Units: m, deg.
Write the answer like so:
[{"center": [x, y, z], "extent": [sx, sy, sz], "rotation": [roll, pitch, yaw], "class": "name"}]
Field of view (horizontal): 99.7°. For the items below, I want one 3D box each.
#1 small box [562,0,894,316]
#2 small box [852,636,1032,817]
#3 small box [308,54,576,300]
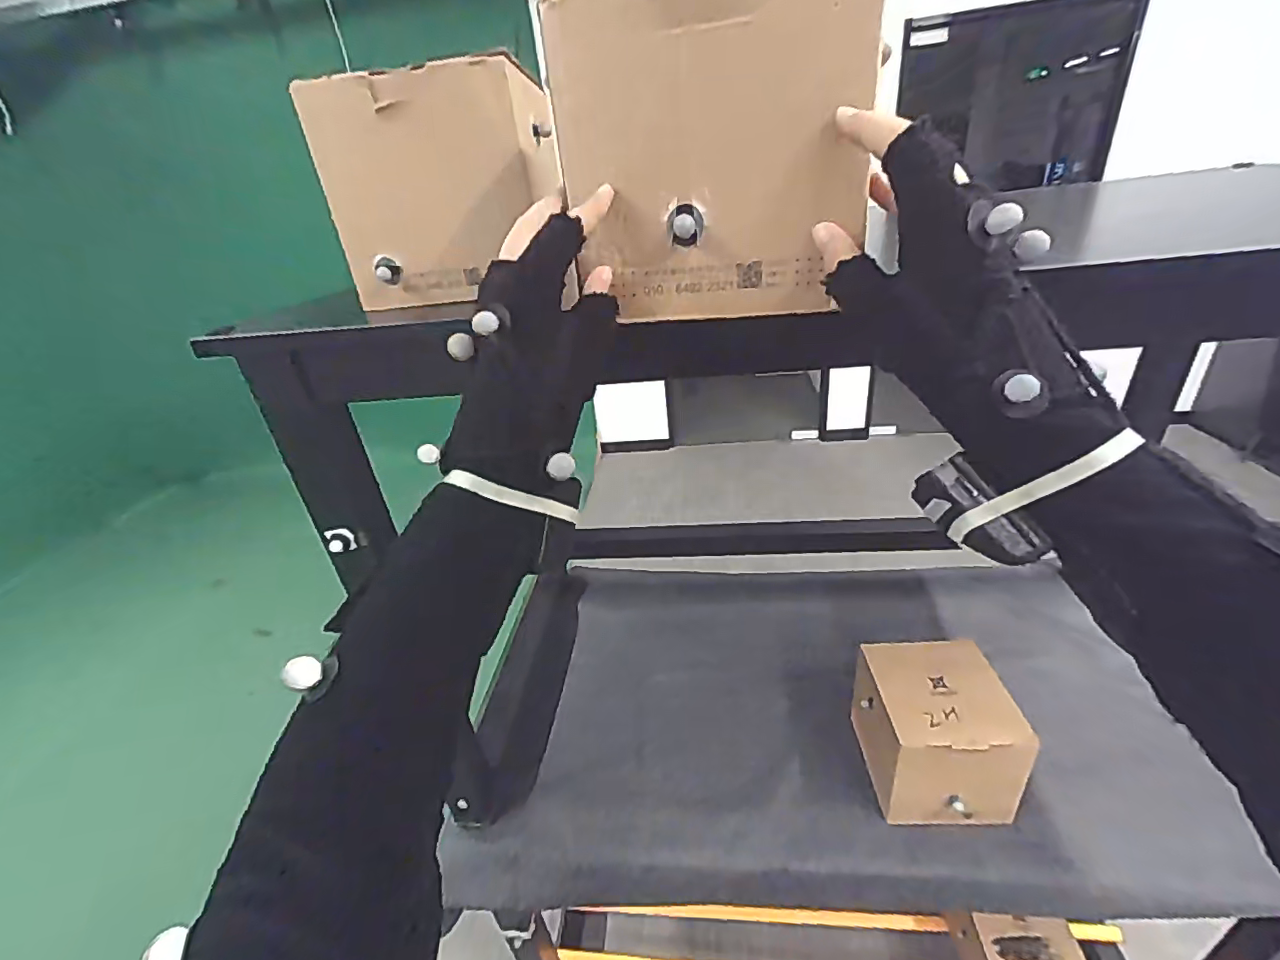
[{"center": [0.060, -0.215, 0.369], "extent": [0.168, 0.176, 0.179], "rotation": [0, 30, 12], "class": "small box"}, {"center": [0.417, 0.350, 0.784], "extent": [0.168, 0.176, 0.179], "rotation": [-4, 28, 6], "class": "small box"}, {"center": [-0.159, -0.271, 0.511], "extent": [0.168, 0.176, 0.179], "rotation": [-4, 28, 3], "class": "small box"}]
